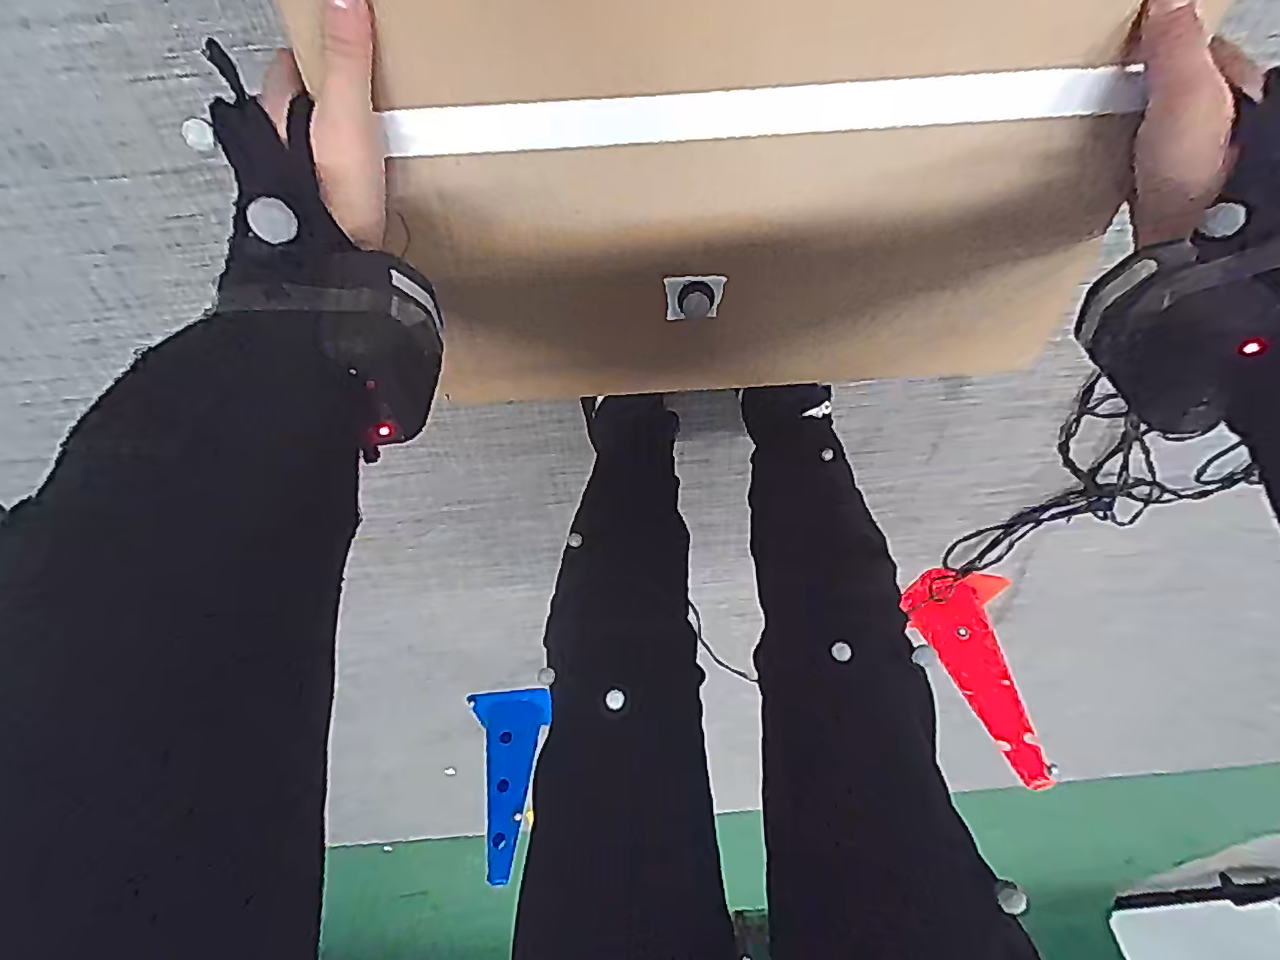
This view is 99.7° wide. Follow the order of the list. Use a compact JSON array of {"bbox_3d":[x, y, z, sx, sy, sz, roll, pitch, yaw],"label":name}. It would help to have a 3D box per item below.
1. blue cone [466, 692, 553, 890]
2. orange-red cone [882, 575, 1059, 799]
[{"bbox_3d":[-0.311,0.695,1.228,0.192,0.380,0.193,-4,132,0],"label":"blue cone"},{"bbox_3d":[0.636,0.377,0.983,0.199,0.360,0.198,9,132,-14],"label":"orange-red cone"}]
